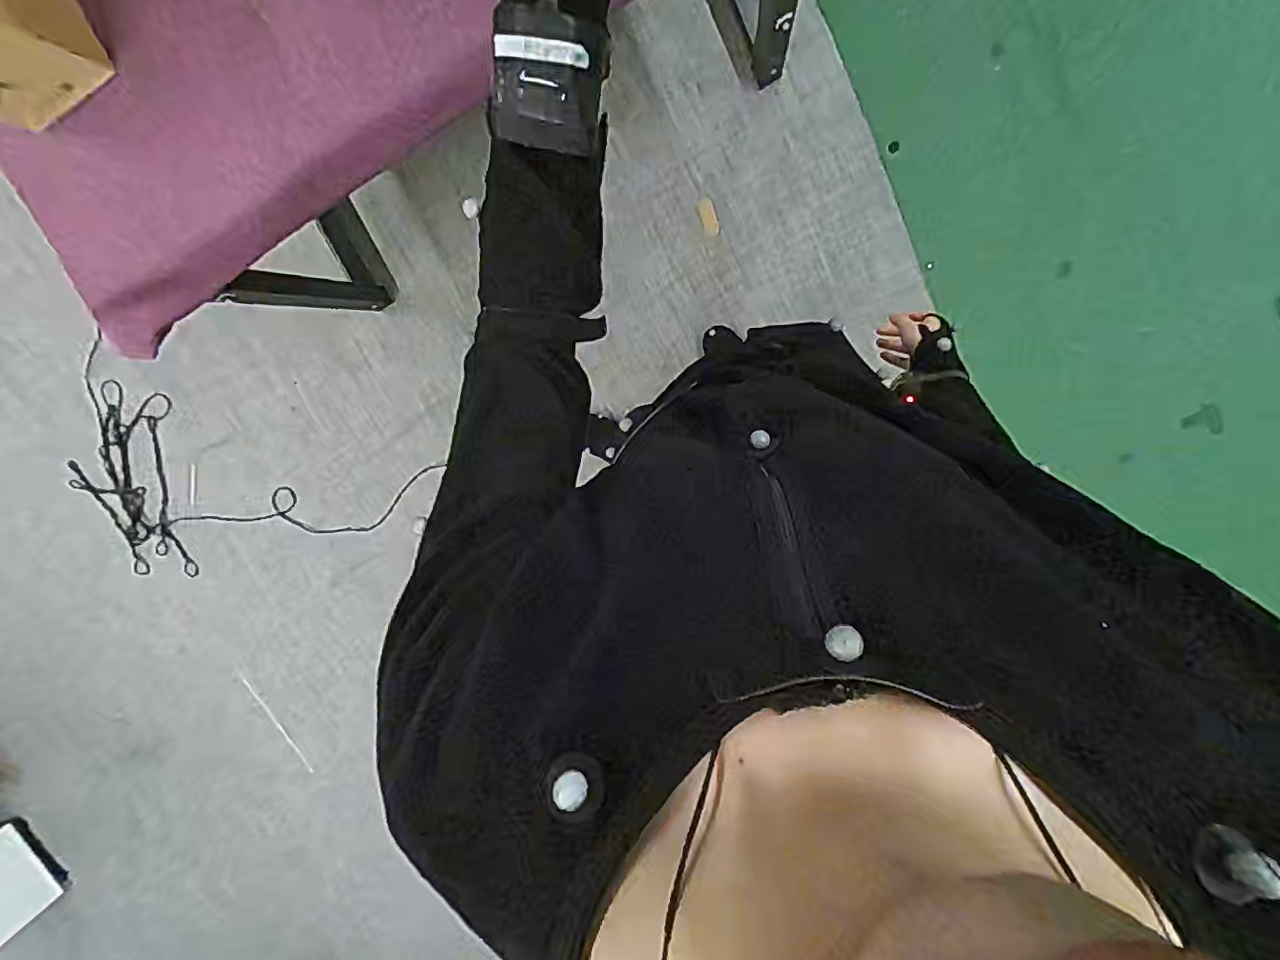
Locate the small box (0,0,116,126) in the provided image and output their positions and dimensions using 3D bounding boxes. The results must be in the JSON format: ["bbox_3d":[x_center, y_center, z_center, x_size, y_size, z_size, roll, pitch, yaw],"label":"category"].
[{"bbox_3d":[-0.821,-0.574,0.665,0.168,0.176,0.179,-22,100,14],"label":"small box"}]
